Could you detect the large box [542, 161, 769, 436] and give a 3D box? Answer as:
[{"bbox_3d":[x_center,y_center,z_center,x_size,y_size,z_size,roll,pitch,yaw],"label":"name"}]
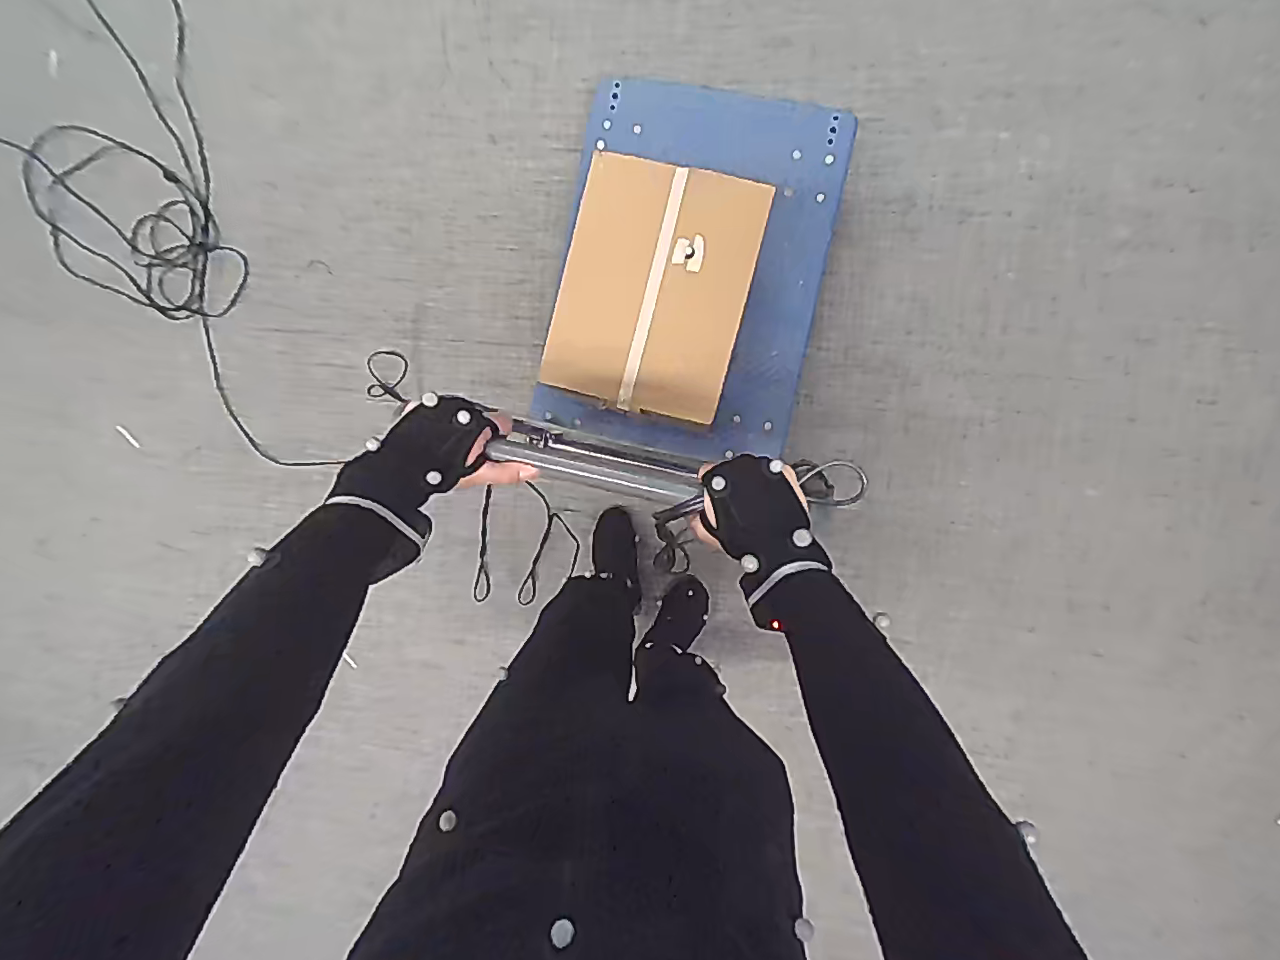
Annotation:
[{"bbox_3d":[0.037,-0.319,1.063,0.320,0.320,0.408,15,93,5],"label":"large box"}]
